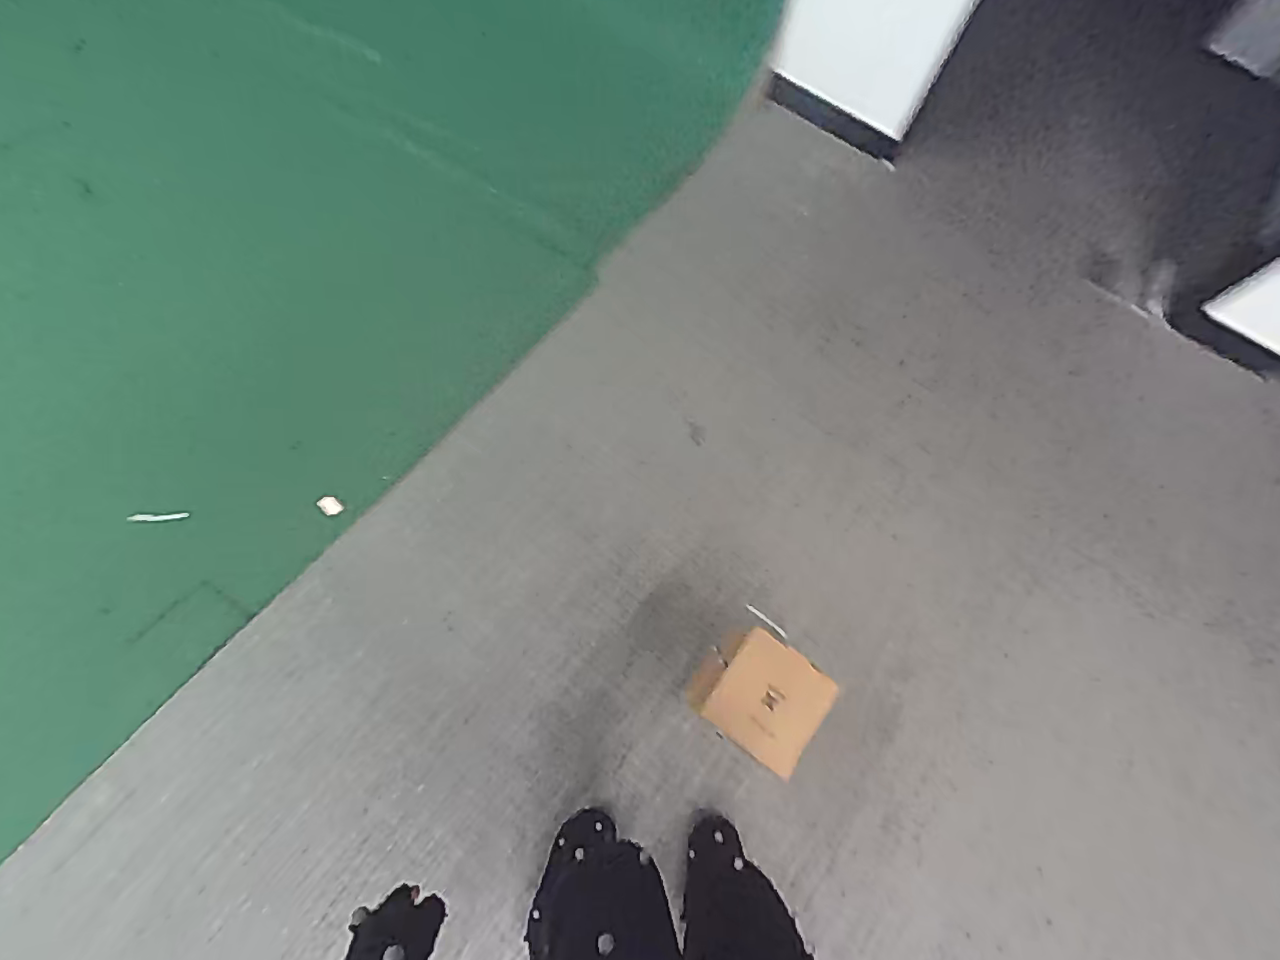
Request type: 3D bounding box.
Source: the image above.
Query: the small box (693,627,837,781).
[{"bbox_3d":[0.207,0.385,0.951,0.168,0.176,0.179,35,74,11],"label":"small box"}]

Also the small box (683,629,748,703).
[{"bbox_3d":[0.209,0.427,1.109,0.179,0.176,0.168,37,72,9],"label":"small box"}]
